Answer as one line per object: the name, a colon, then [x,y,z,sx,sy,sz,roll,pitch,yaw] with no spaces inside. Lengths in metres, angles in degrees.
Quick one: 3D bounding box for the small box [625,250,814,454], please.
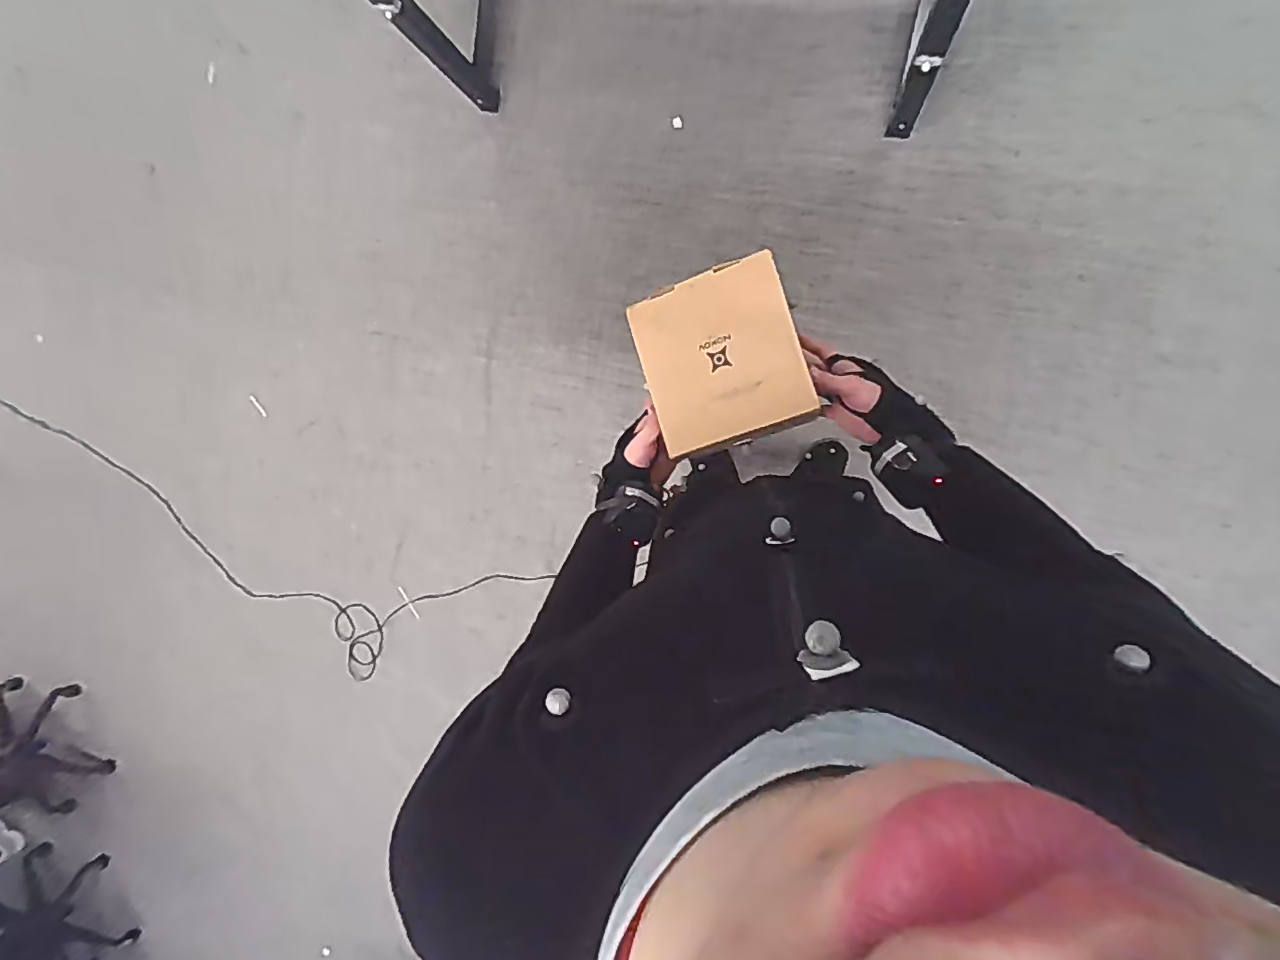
small box: [0.101,-0.135,0.649,0.168,0.176,0.179,-17,87,17]
